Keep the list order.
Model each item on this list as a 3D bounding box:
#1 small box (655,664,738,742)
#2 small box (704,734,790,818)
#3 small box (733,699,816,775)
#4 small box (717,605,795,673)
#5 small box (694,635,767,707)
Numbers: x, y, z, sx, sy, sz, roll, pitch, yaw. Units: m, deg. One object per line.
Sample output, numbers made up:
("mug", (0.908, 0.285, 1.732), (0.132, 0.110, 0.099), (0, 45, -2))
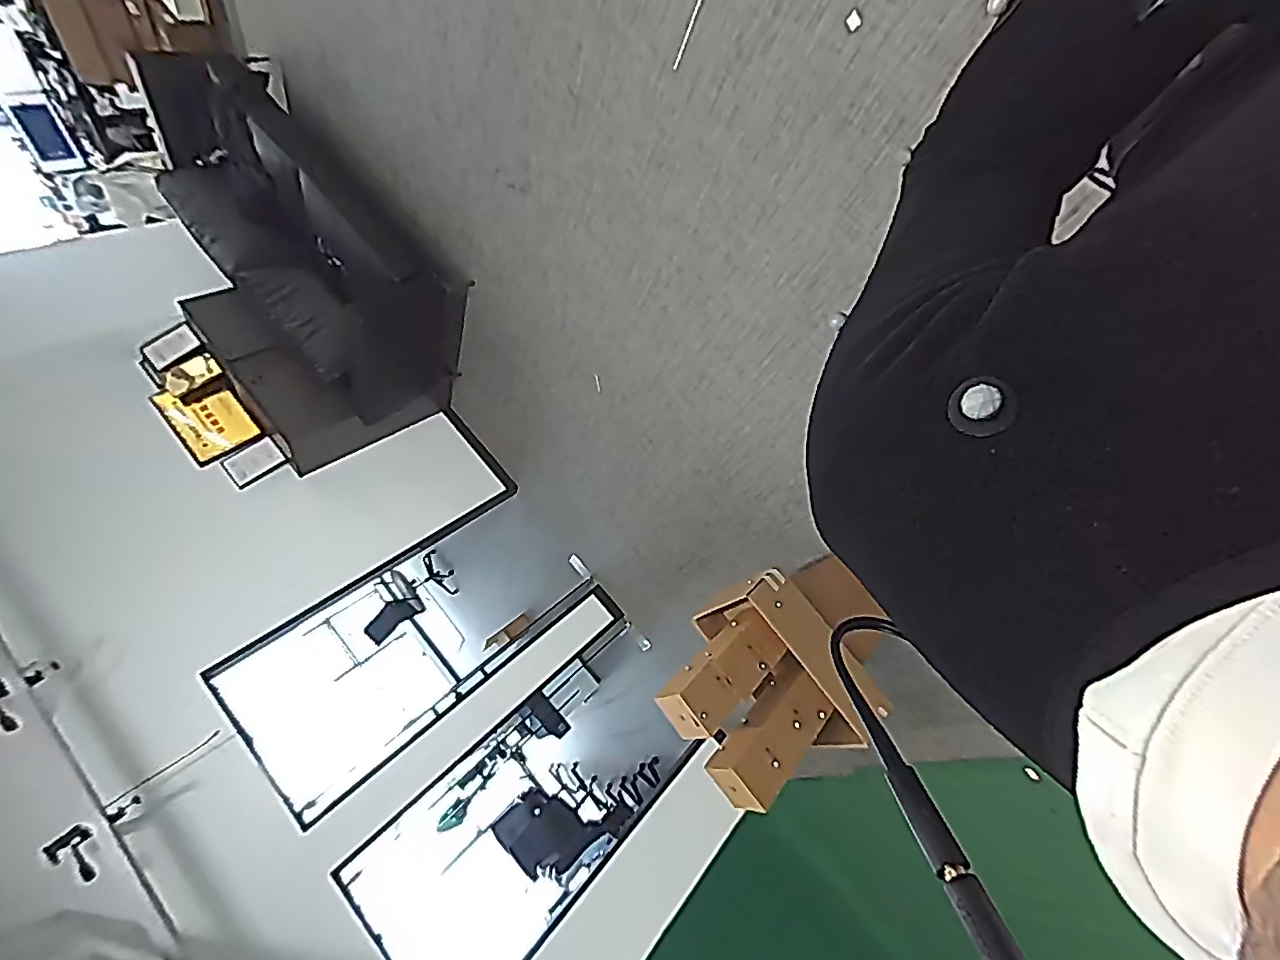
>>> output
("small box", (0.185, 0.719, 1.748), (0.168, 0.176, 0.179), (53, 145, 4))
("small box", (0.346, 0.940, 1.735), (0.168, 0.176, 0.179), (51, 145, 4))
("small box", (0.457, 0.866, 1.828), (0.168, 0.176, 0.179), (51, 145, 5))
("small box", (0.417, 0.573, 1.931), (0.168, 0.176, 0.179), (53, 144, 5))
("small box", (0.305, 0.649, 1.837), (0.168, 0.176, 0.179), (53, 145, 4))
